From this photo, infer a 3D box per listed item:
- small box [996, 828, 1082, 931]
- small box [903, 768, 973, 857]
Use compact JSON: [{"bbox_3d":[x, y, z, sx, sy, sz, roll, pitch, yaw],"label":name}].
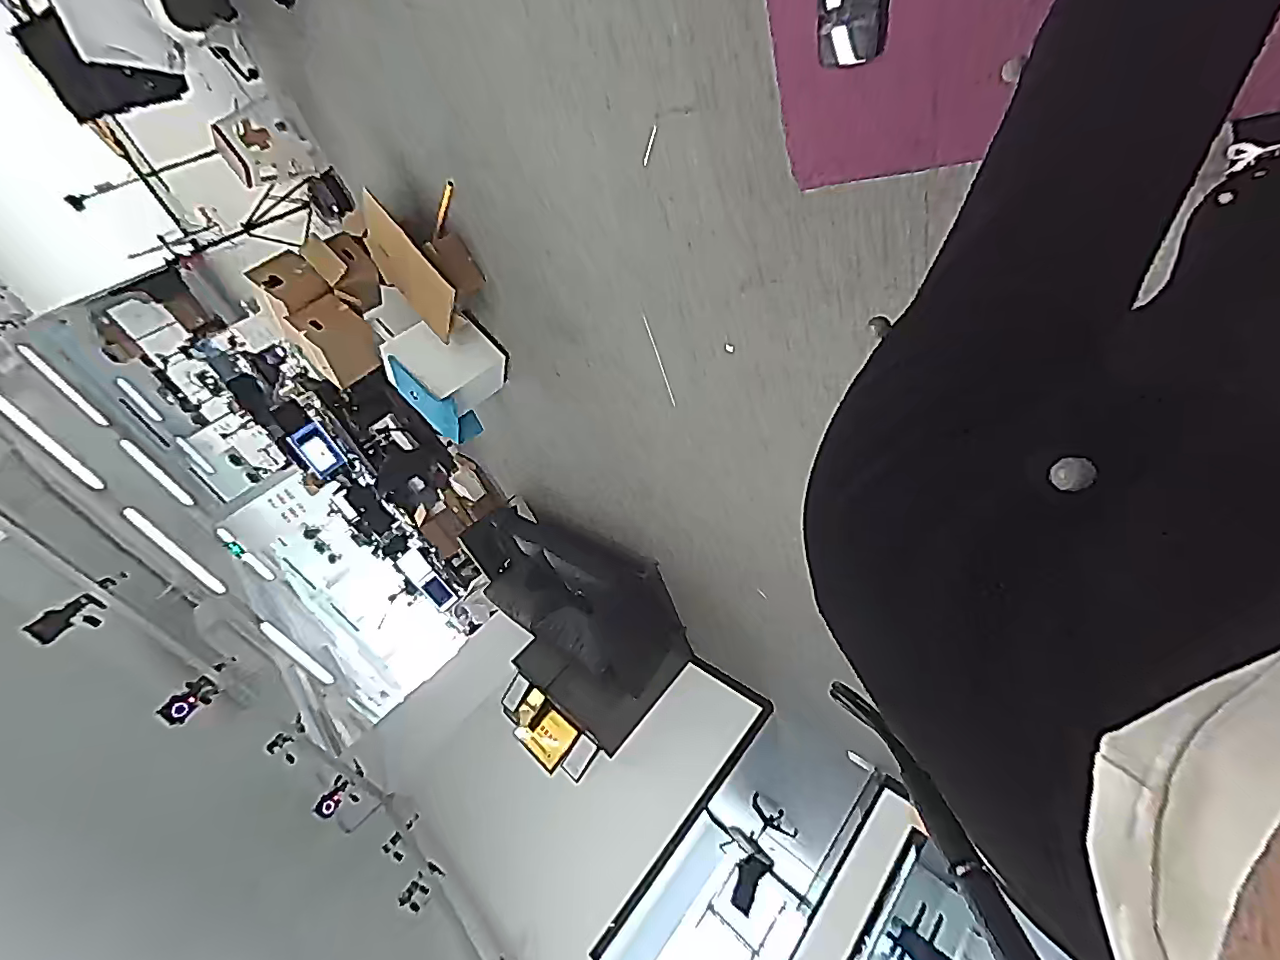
[{"bbox_3d":[1.237,1.234,1.677,0.168,0.176,0.179,21,143,41],"label":"small box"},{"bbox_3d":[1.029,1.141,1.867,0.168,0.176,0.179,22,143,43],"label":"small box"}]
